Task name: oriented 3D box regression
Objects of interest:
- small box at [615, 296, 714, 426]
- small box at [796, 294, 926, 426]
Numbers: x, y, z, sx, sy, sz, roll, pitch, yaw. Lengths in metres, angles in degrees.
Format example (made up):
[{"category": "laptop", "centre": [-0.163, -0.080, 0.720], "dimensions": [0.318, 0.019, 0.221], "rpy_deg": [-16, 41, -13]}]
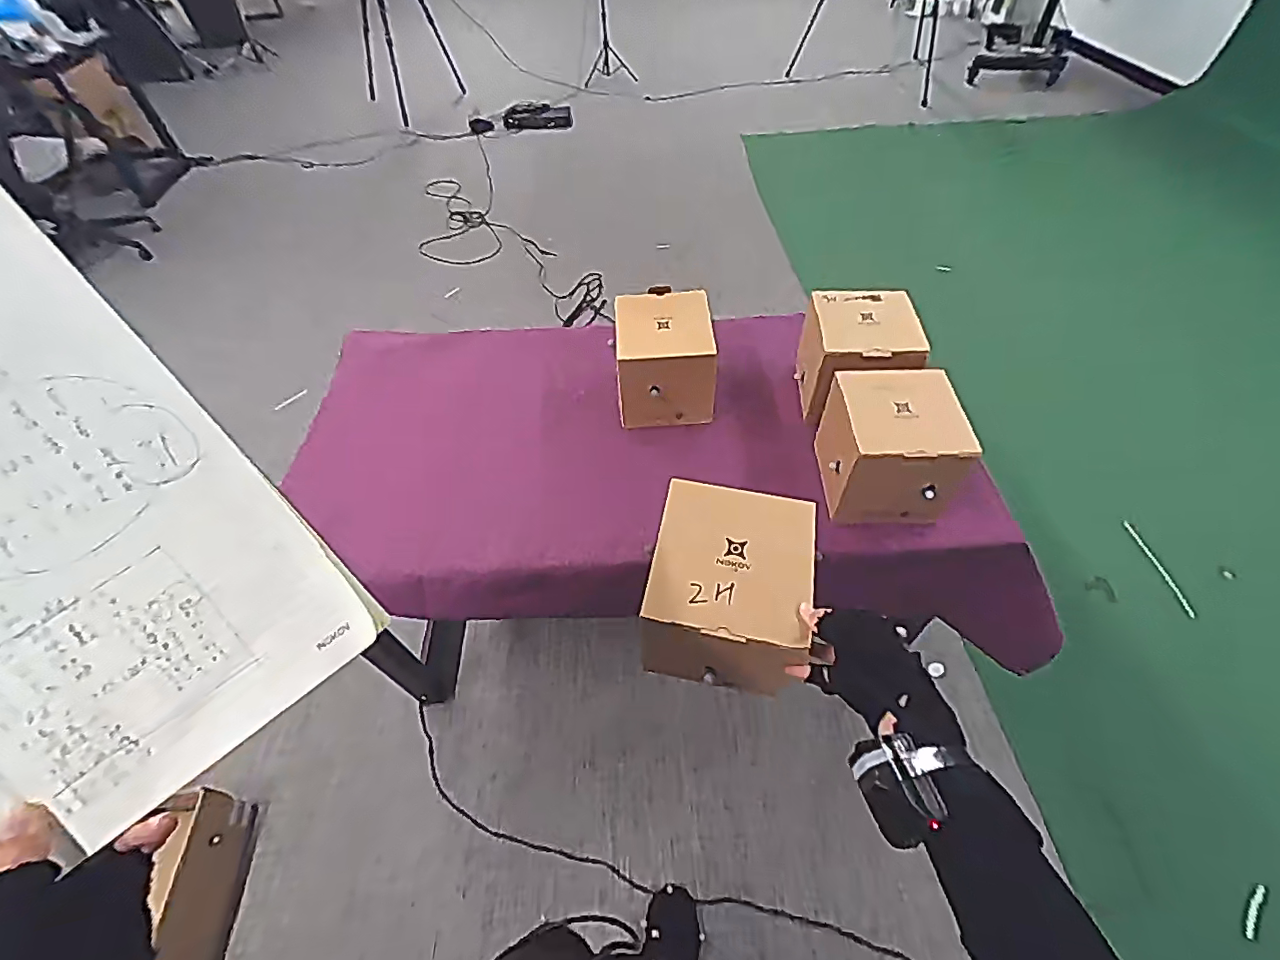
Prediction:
[{"category": "small box", "centre": [0.043, -0.211, 0.992], "dimensions": [0.168, 0.176, 0.179], "rpy_deg": [-4, 51, 0]}, {"category": "small box", "centre": [0.383, -0.212, 0.971], "dimensions": [0.168, 0.176, 0.179], "rpy_deg": [2, 52, 5]}]
